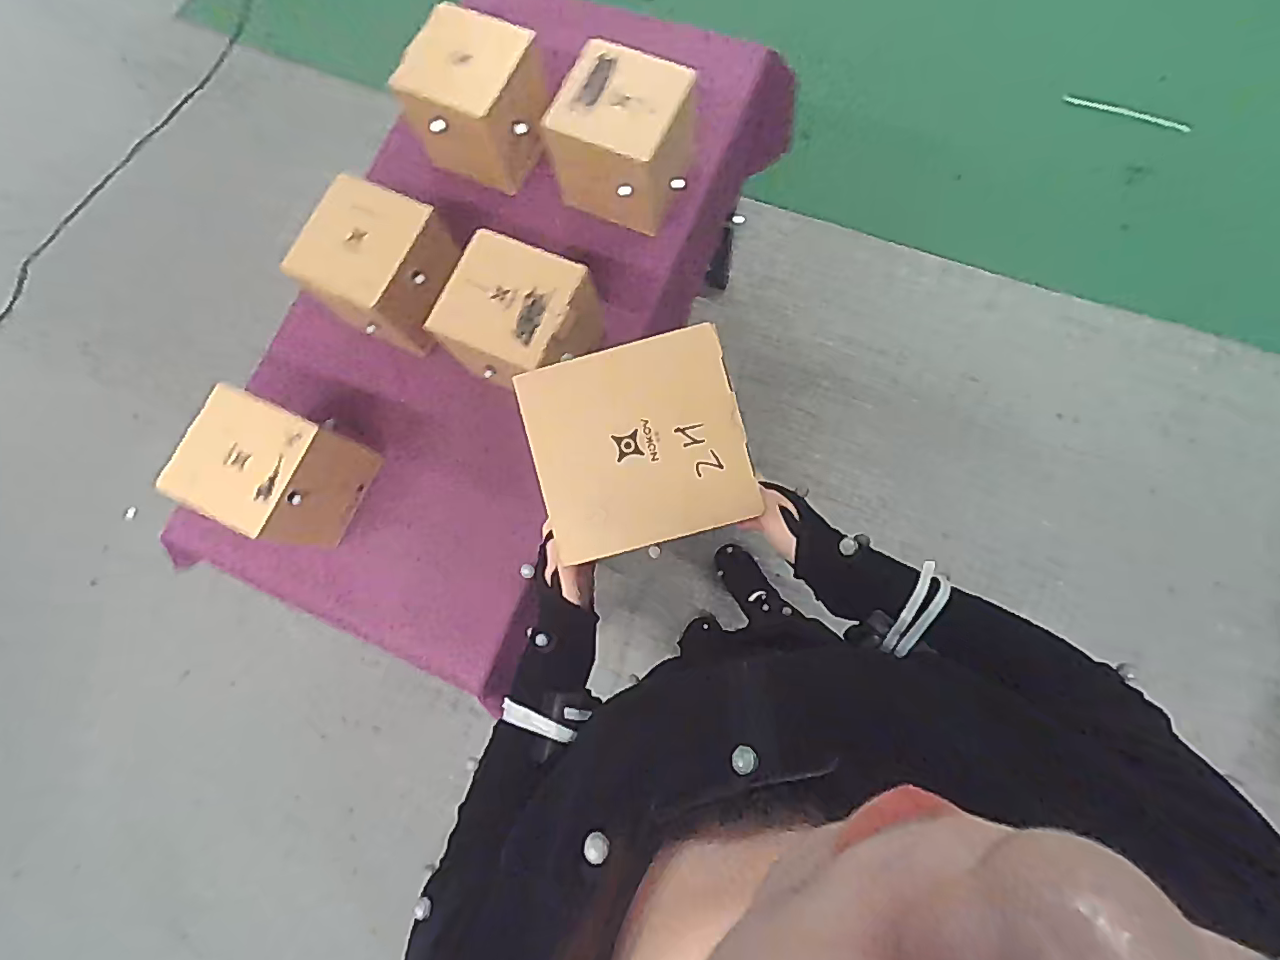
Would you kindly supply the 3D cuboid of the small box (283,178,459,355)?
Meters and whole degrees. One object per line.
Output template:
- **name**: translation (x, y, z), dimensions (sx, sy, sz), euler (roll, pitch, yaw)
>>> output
- **small box**: translation (-0.404, -0.328, 0.861), dimensions (0.168, 0.176, 0.179), euler (25, 81, 9)

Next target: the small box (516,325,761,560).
- **small box**: translation (0.002, -0.027, 0.522), dimensions (0.179, 0.176, 0.168), euler (-13, 88, 2)

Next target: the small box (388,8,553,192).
- **small box**: translation (-0.270, -0.623, 0.908), dimensions (0.179, 0.176, 0.168), euler (25, 82, 11)

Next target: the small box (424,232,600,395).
- **small box**: translation (-0.178, -0.231, 0.817), dimensions (0.179, 0.176, 0.168), euler (23, 82, 11)

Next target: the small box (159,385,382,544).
- **small box**: translation (-0.535, -0.012, 0.808), dimensions (0.179, 0.176, 0.168), euler (23, 81, 10)
